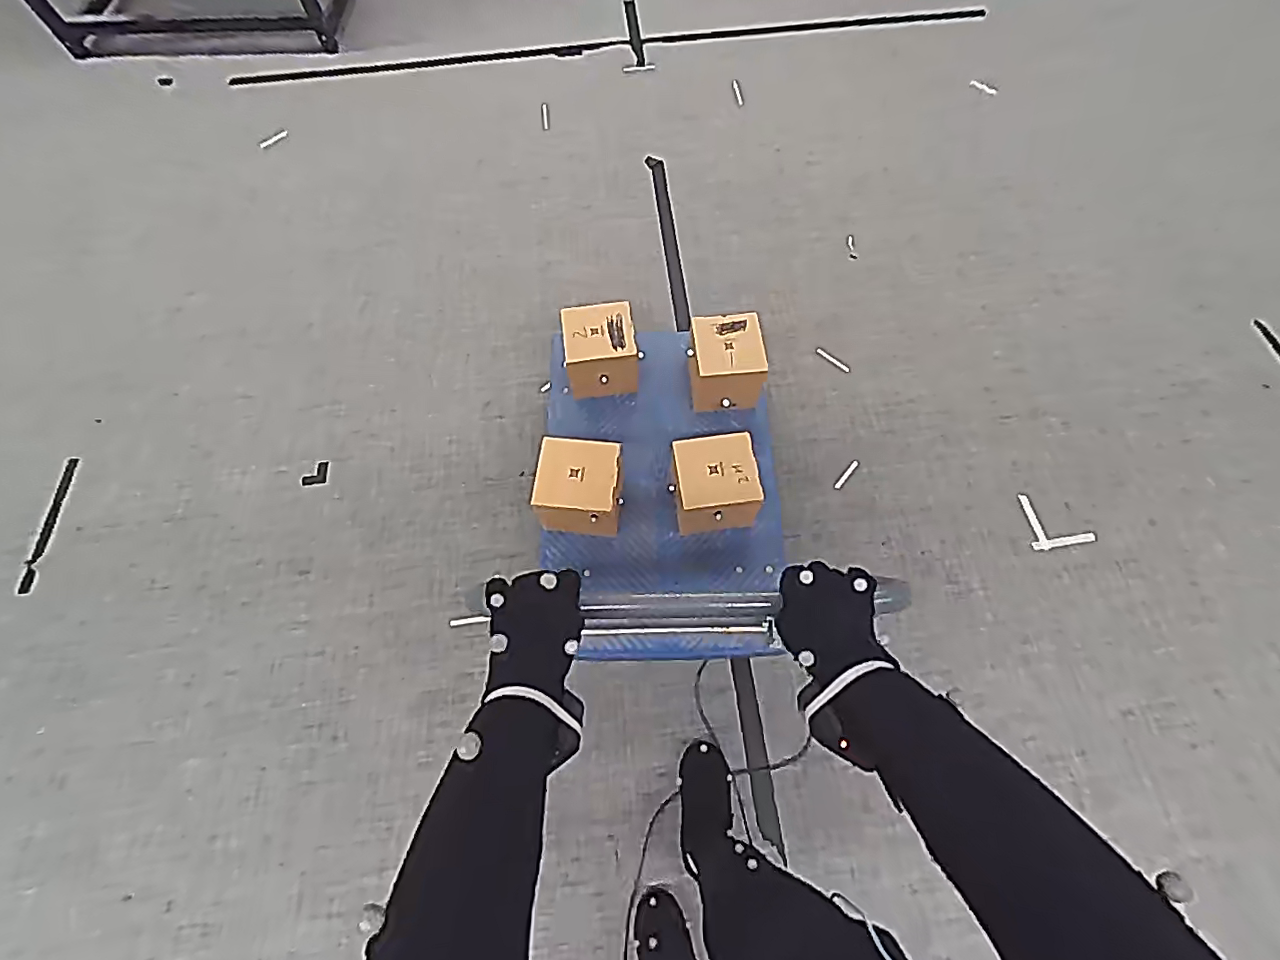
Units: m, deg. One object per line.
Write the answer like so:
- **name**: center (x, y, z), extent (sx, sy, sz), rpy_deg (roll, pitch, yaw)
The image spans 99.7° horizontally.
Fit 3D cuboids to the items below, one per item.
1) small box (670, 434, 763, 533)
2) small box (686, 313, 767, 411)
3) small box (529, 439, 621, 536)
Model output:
- **small box**: center (0.165, 0.014, 1.232), extent (0.179, 0.176, 0.168), rpy_deg (-7, 67, -2)
- **small box**: center (0.210, -0.294, 1.365), extent (0.168, 0.176, 0.179), rpy_deg (-5, 67, -1)
- **small box**: center (-0.139, 0.022, 1.235), extent (0.179, 0.176, 0.168), rpy_deg (5, 66, 2)
